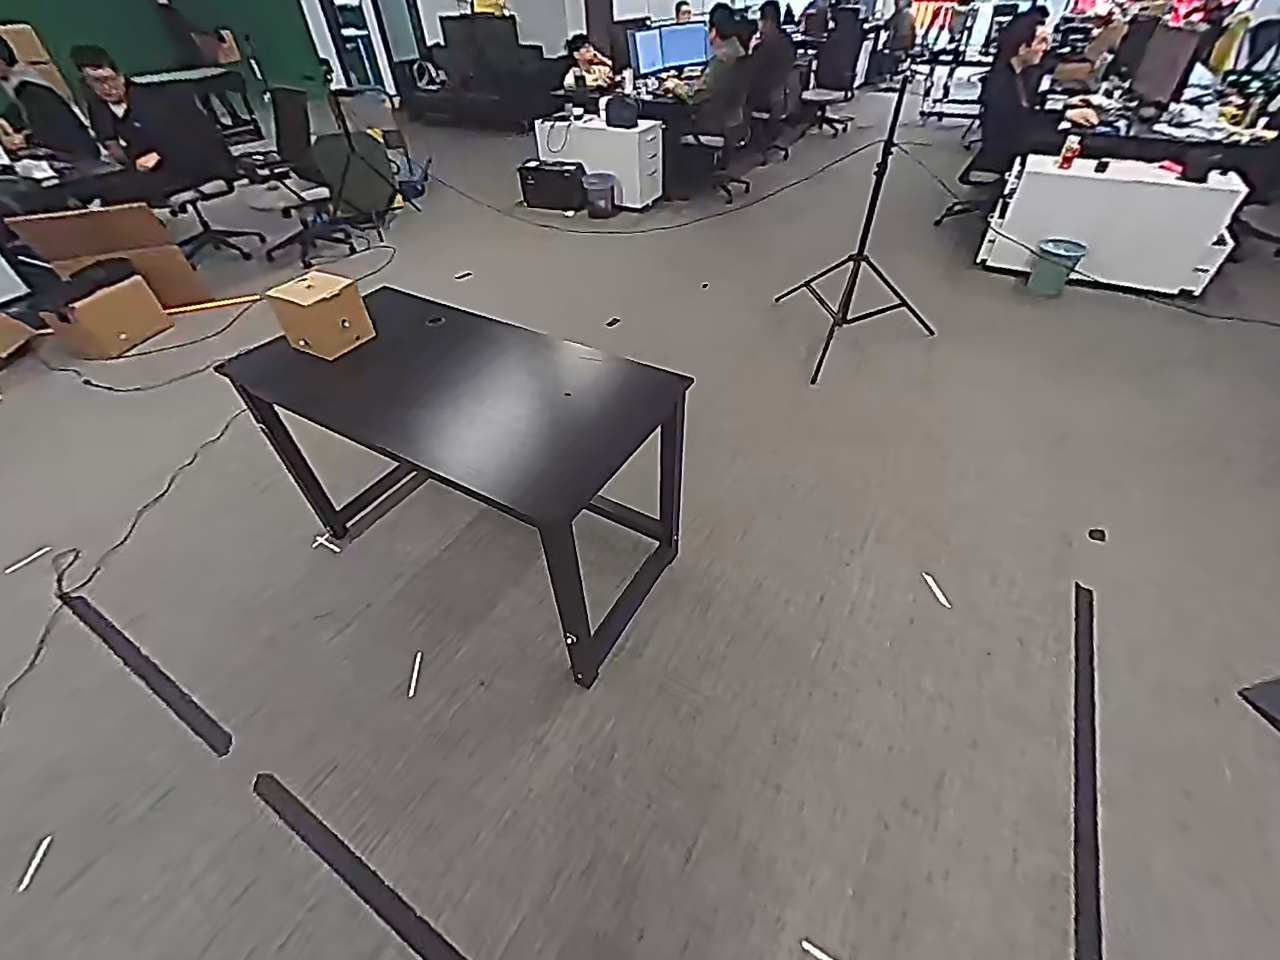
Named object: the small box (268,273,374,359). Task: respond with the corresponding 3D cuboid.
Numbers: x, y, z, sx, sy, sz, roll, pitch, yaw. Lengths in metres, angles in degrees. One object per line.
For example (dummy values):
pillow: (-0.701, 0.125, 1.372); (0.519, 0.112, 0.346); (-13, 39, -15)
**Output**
small box: (-0.907, -0.469, 1.555); (0.179, 0.176, 0.168); (20, 47, 21)
